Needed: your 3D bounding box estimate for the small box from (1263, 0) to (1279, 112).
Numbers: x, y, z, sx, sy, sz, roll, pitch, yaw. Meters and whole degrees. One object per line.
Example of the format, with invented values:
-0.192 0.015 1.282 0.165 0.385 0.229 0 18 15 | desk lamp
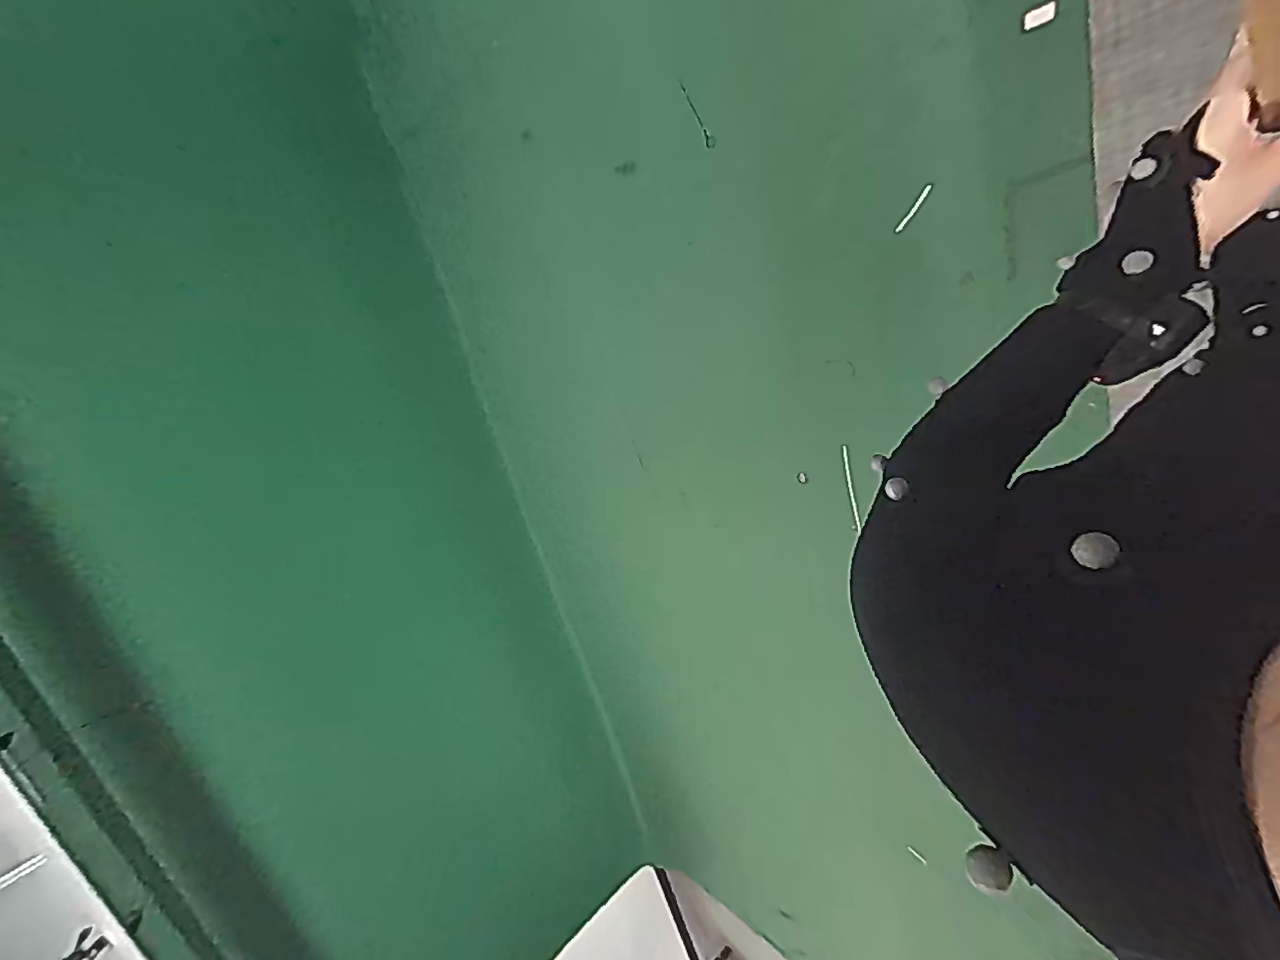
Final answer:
0.412 -0.300 0.232 0.179 0.176 0.168 12 99 51 | small box
